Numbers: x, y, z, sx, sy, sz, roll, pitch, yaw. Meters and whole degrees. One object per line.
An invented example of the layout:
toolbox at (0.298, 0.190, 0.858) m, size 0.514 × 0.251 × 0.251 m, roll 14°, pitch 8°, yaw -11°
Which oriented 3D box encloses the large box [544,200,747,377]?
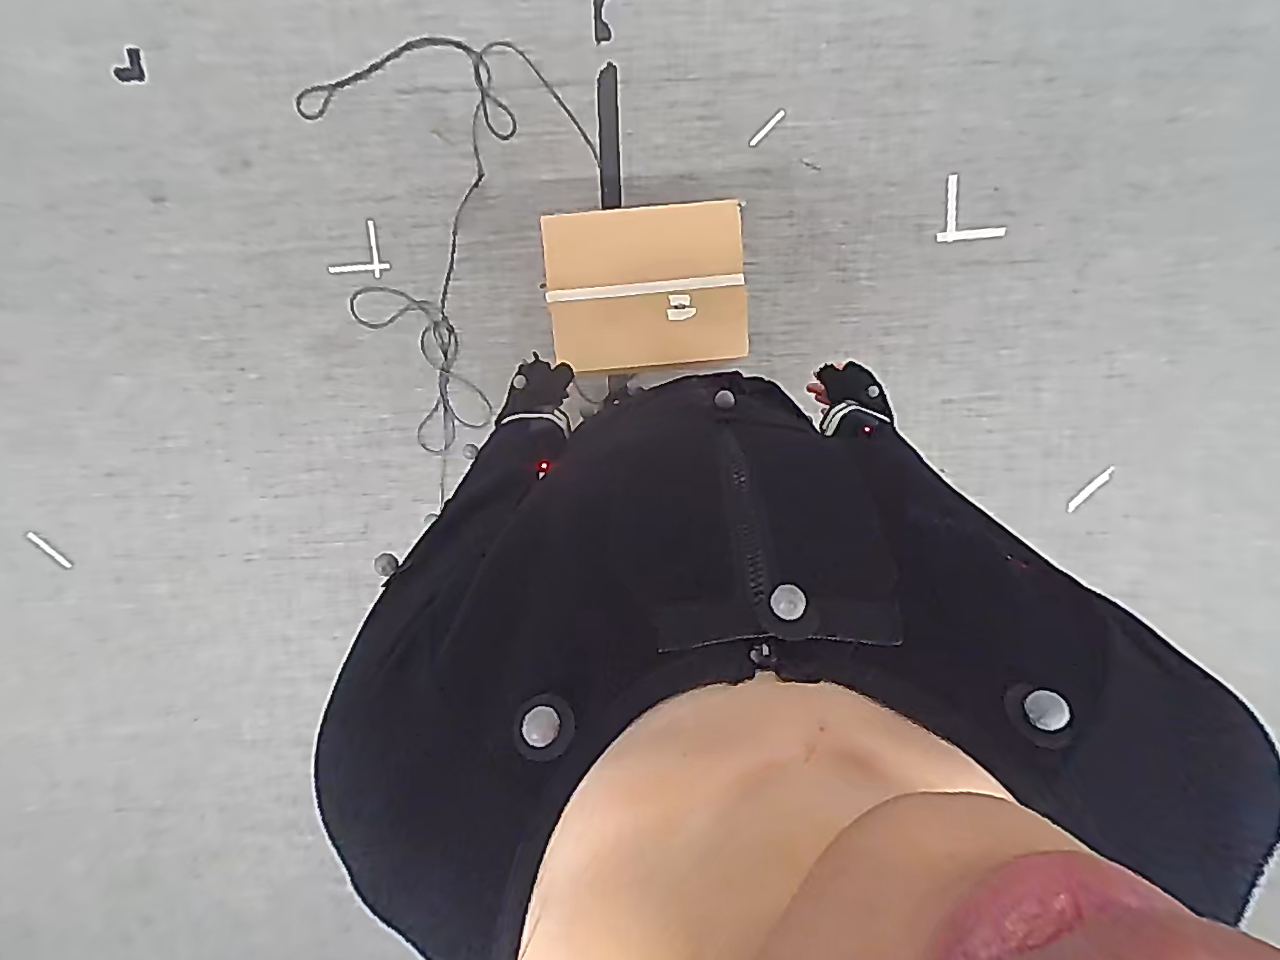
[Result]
large box at (0.011, -0.421, 1.267) m, size 0.408 × 0.320 × 0.320 m, roll -5°, pitch 99°, yaw -1°
